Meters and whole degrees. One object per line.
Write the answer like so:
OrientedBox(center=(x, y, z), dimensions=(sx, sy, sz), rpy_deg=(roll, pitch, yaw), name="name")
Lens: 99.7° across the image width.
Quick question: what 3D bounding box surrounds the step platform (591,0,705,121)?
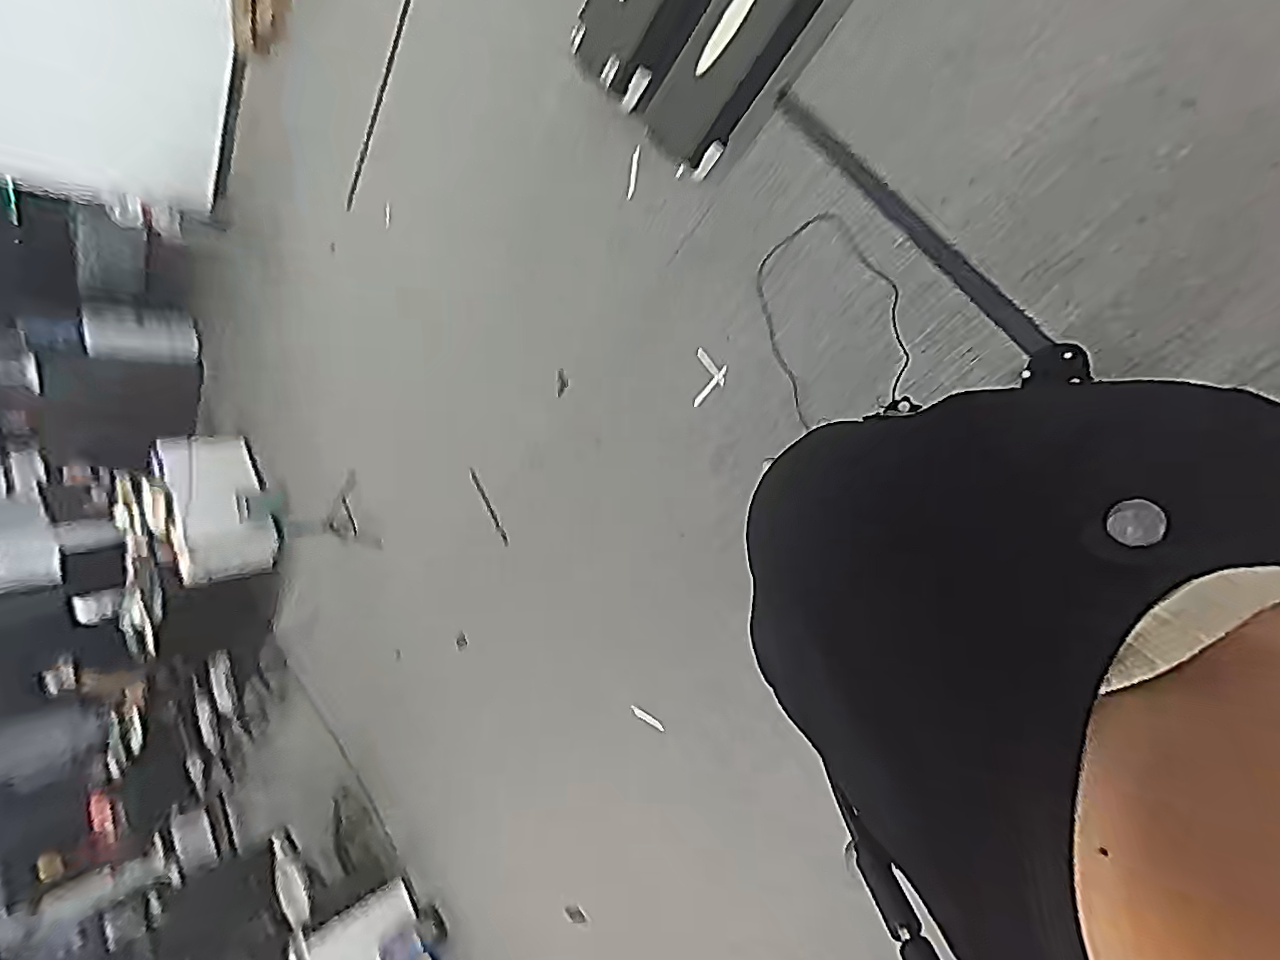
OrientedBox(center=(0.153, -1.388, 1.475), dimensions=(0.684, 0.204, 0.286), rpy_deg=(-40, 69, 35), name="step platform")
